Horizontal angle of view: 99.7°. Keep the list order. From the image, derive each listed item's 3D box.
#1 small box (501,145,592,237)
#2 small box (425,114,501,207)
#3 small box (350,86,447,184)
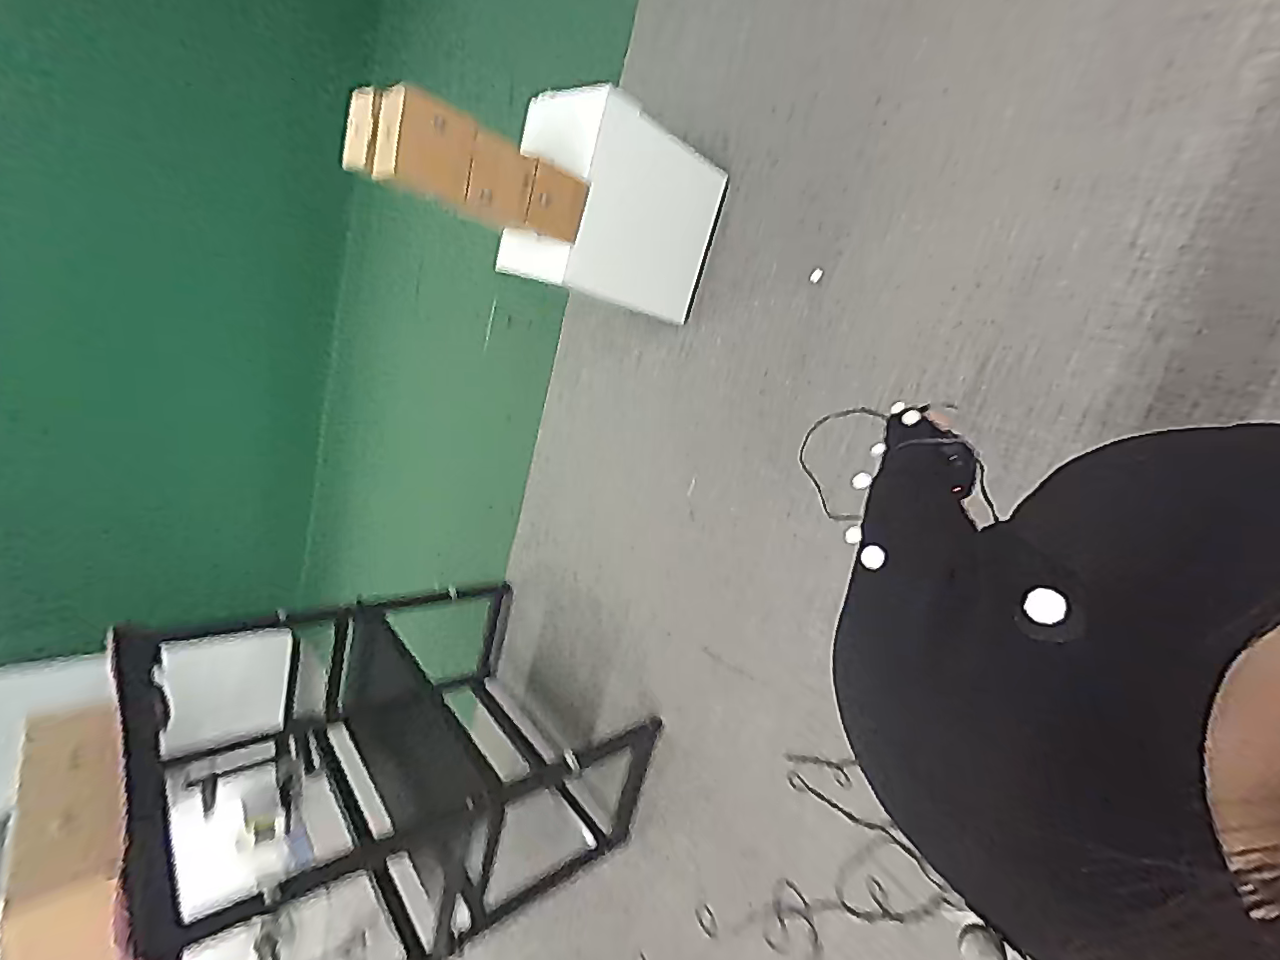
[{"bbox_3d":[-0.256,-0.803,1.506,0.168,0.176,0.179,33,112,41],"label":"small box"},{"bbox_3d":[-0.516,-0.903,1.532,0.168,0.176,0.179,31,110,39],"label":"small box"},{"bbox_3d":[-0.629,-0.896,1.412,0.179,0.176,0.168,31,110,38],"label":"small box"}]
